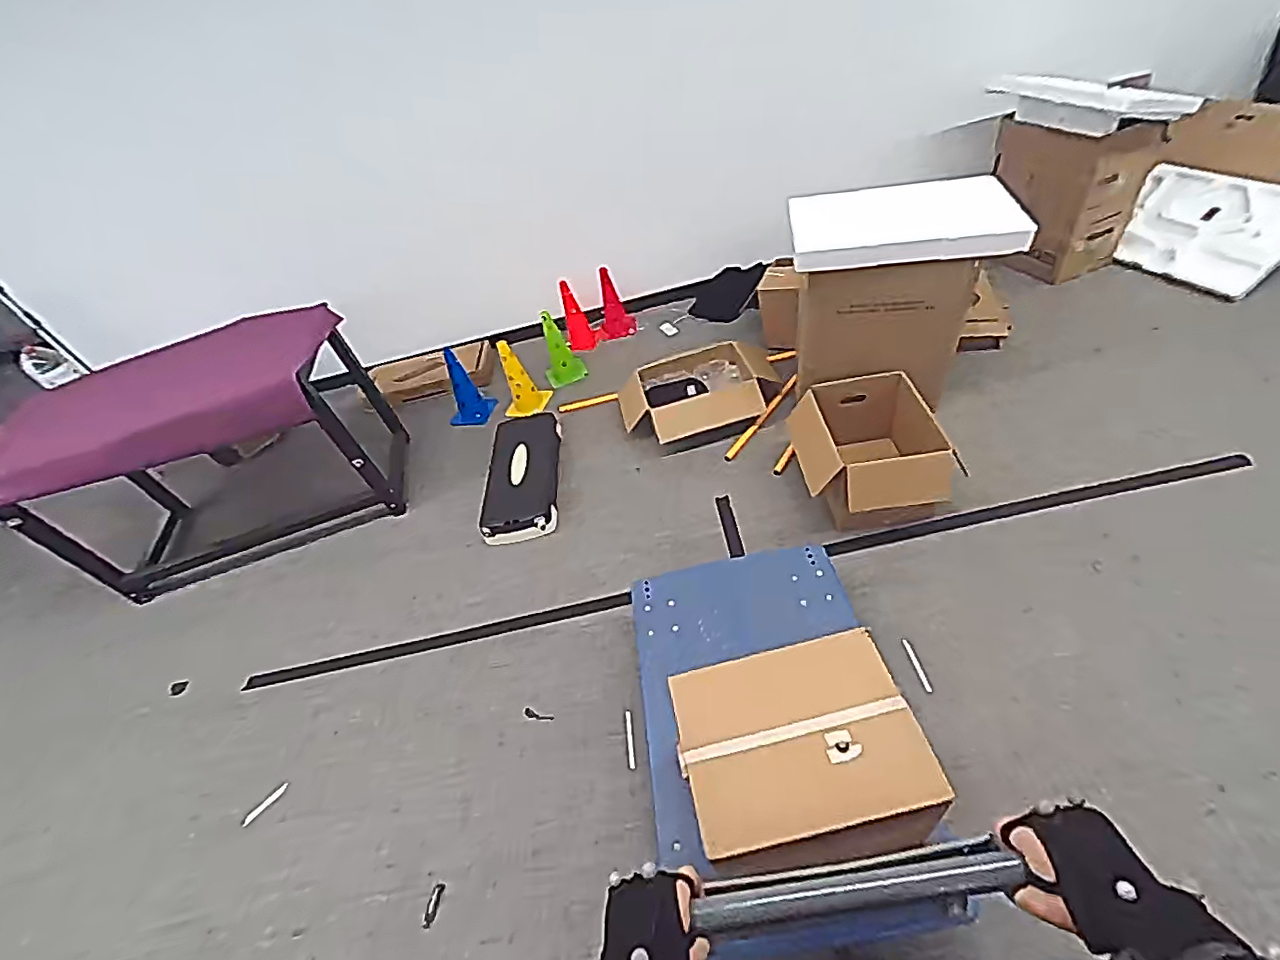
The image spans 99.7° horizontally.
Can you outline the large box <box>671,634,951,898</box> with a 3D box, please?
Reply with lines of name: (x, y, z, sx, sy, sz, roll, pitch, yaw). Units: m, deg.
large box: (0.304, 0.561, 1.062, 0.408, 0.320, 0.320, -14, 44, 0)
